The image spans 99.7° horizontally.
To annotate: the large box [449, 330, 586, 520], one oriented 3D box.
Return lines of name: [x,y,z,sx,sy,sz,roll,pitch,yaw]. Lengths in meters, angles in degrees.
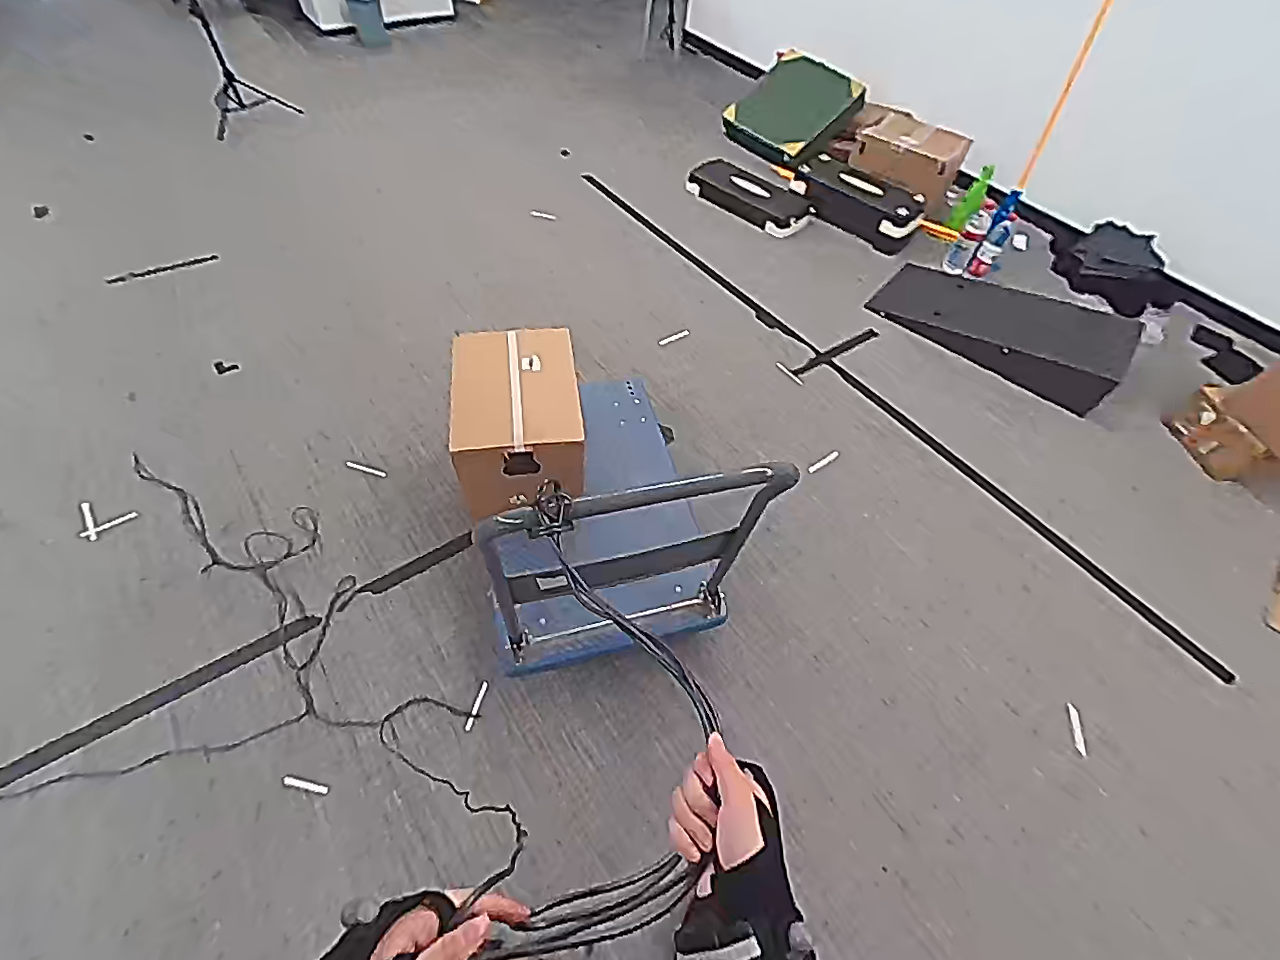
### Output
large box: [-0.325,-0.149,1.472,0.320,0.320,0.408,-5,55,-10]
